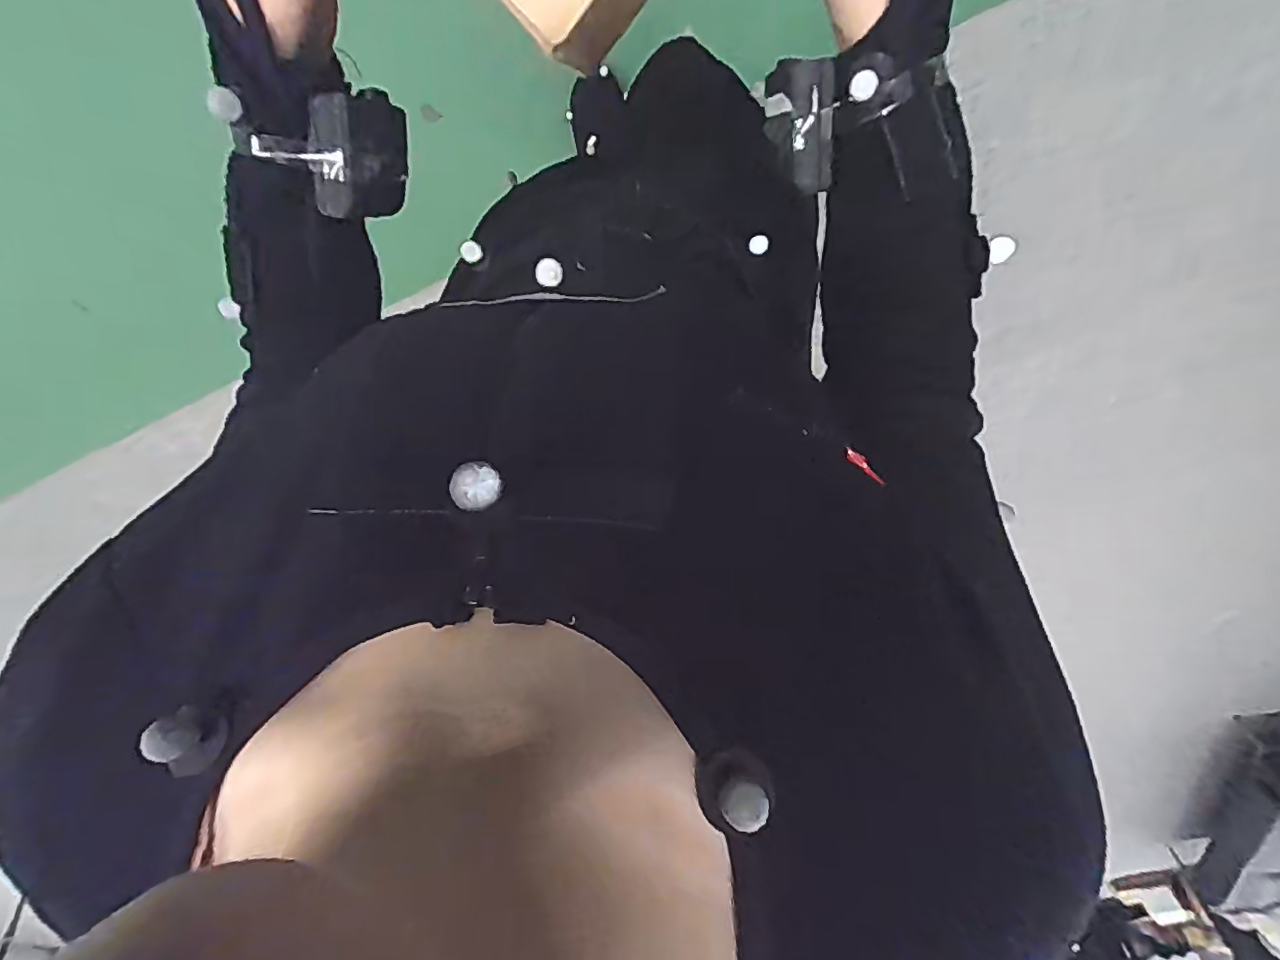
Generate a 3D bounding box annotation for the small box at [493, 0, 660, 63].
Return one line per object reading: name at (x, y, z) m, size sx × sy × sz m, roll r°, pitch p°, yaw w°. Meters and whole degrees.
small box at (-0.024, -0.292, 0.194) m, size 0.168 × 0.176 × 0.179 m, roll 39°, pitch 117°, yaw -24°
